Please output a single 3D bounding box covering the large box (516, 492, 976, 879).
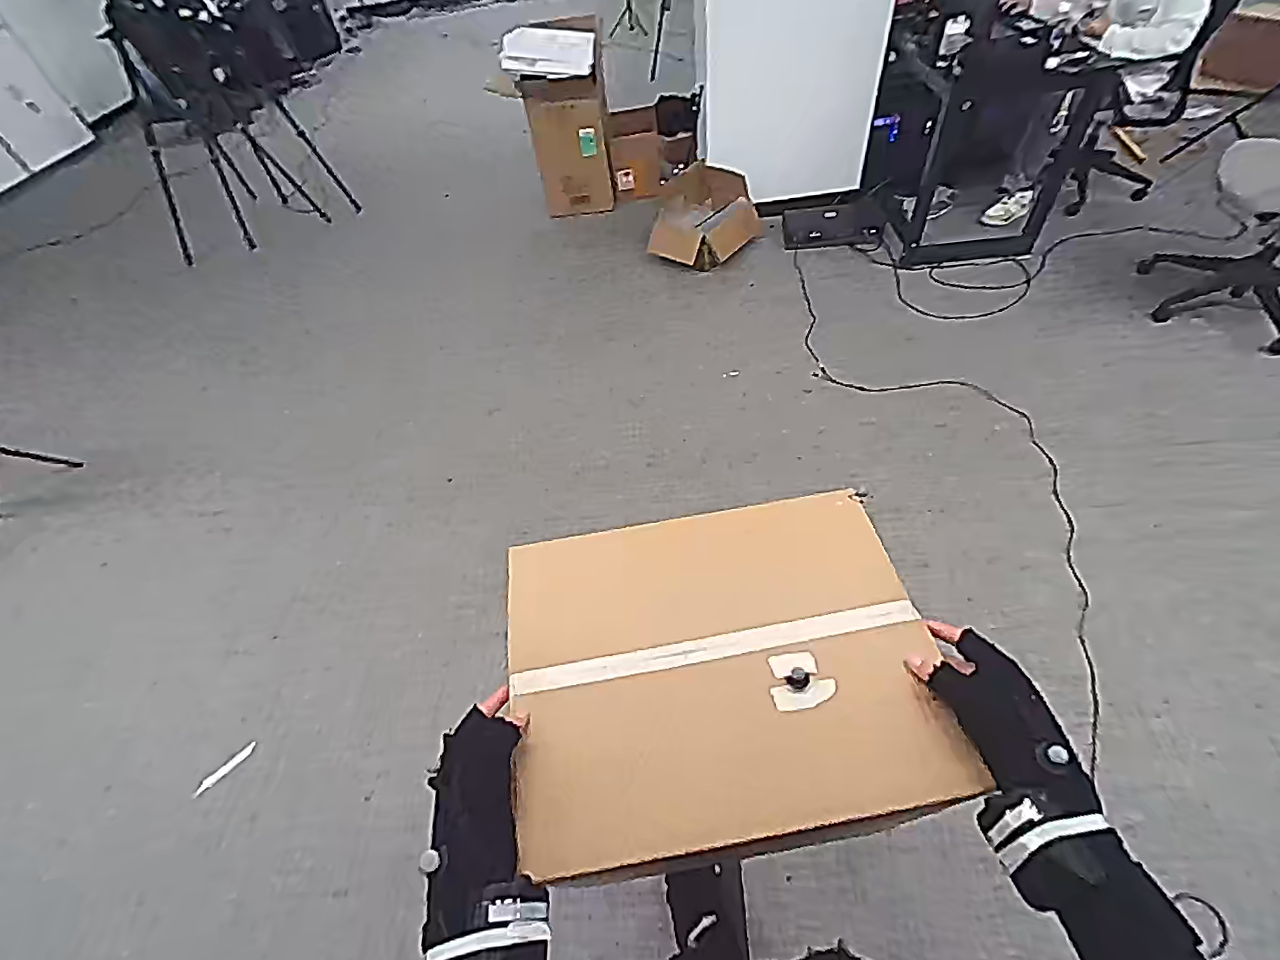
[{"bbox_3d":[0.083,0.257,0.662,0.408,0.320,0.320,-9,52,-2],"label":"large box"}]
